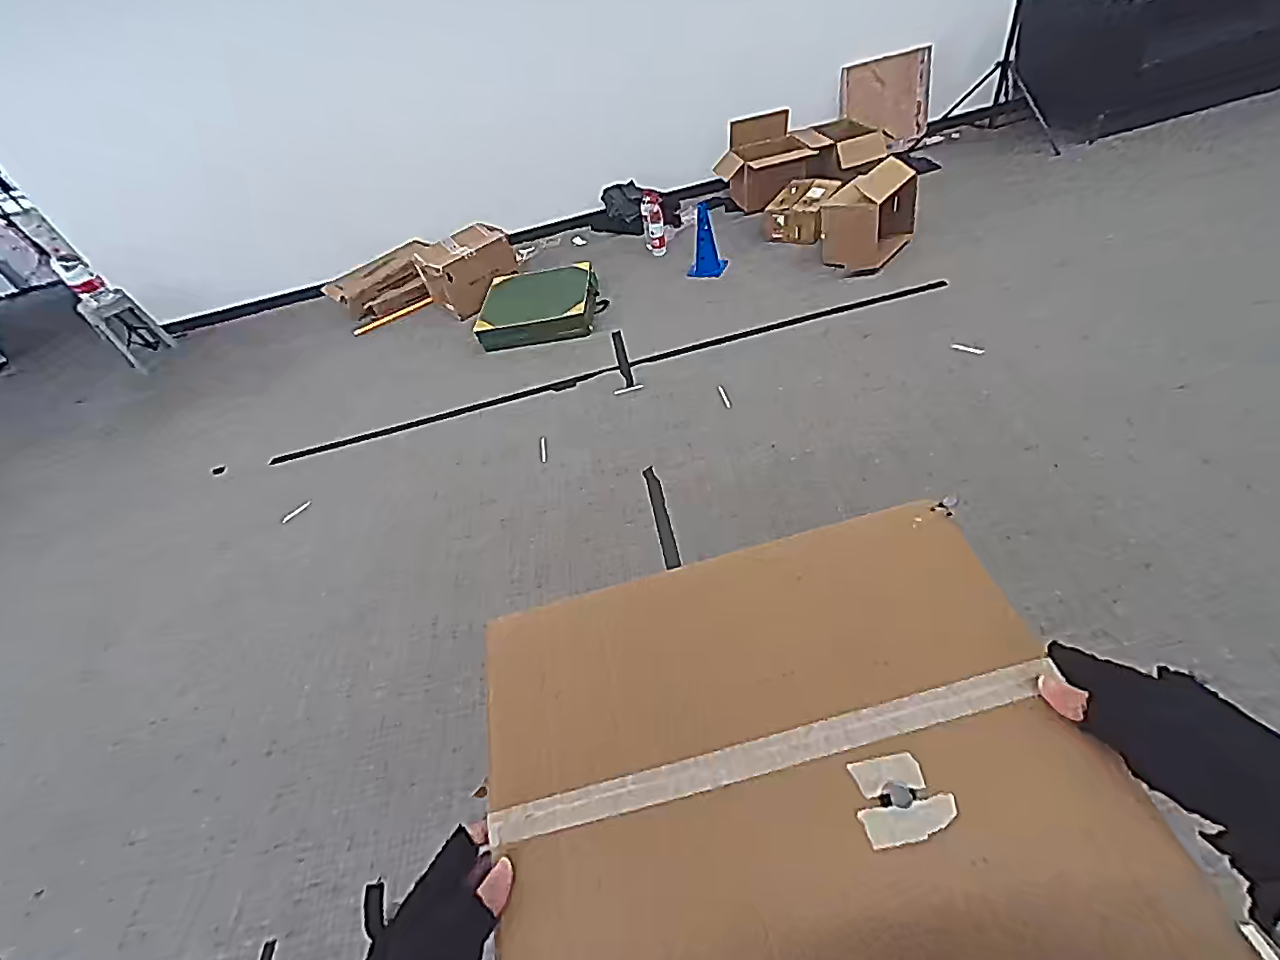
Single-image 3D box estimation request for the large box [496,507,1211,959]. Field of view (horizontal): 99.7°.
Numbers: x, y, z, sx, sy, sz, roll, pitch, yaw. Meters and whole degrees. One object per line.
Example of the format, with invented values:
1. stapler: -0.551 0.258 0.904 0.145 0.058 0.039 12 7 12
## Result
1. large box: 0.119 0.283 0.504 0.408 0.320 0.320 -16 52 0
